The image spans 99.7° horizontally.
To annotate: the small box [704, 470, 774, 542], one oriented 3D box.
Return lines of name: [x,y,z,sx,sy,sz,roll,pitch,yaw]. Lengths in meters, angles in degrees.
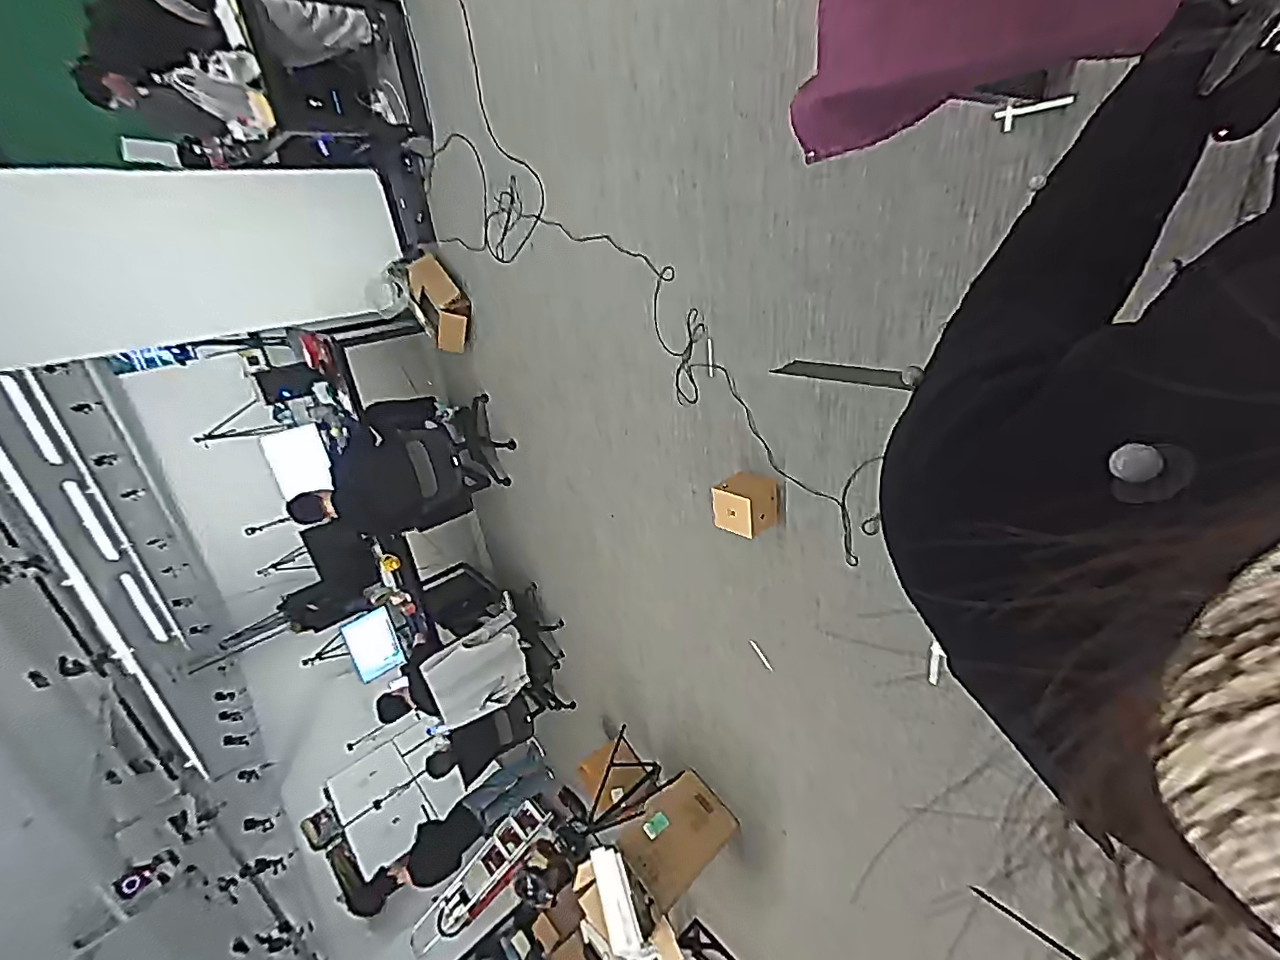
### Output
small box: [0.359,0.098,2.001,0.179,0.176,0.168,62,169,-29]
